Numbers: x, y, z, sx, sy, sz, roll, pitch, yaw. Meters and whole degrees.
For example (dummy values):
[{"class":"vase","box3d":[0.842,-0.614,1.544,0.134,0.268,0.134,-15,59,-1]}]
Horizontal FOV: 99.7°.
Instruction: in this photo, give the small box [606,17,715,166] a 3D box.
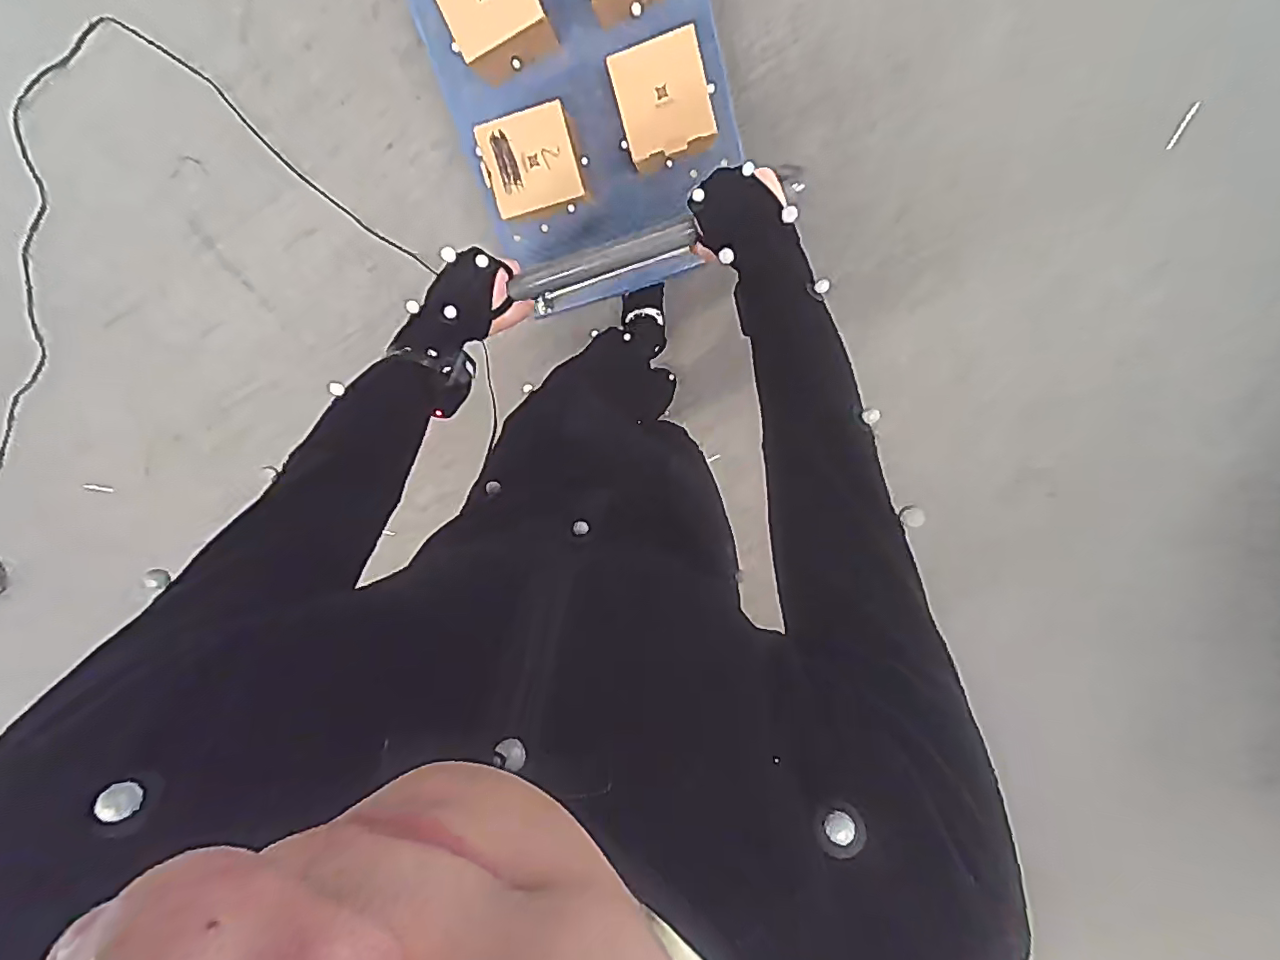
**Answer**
[{"class":"small box","box3d":[0.040,-0.747,1.062,0.168,0.176,0.179,-16,112,8]}]

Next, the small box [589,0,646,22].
[{"class":"small box","box3d":[-0.044,-0.982,0.965,0.168,0.176,0.179,-20,111,11]}]

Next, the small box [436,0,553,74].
[{"class":"small box","box3d":[-0.280,-0.898,1.007,0.168,0.176,0.179,-23,110,10]}]
